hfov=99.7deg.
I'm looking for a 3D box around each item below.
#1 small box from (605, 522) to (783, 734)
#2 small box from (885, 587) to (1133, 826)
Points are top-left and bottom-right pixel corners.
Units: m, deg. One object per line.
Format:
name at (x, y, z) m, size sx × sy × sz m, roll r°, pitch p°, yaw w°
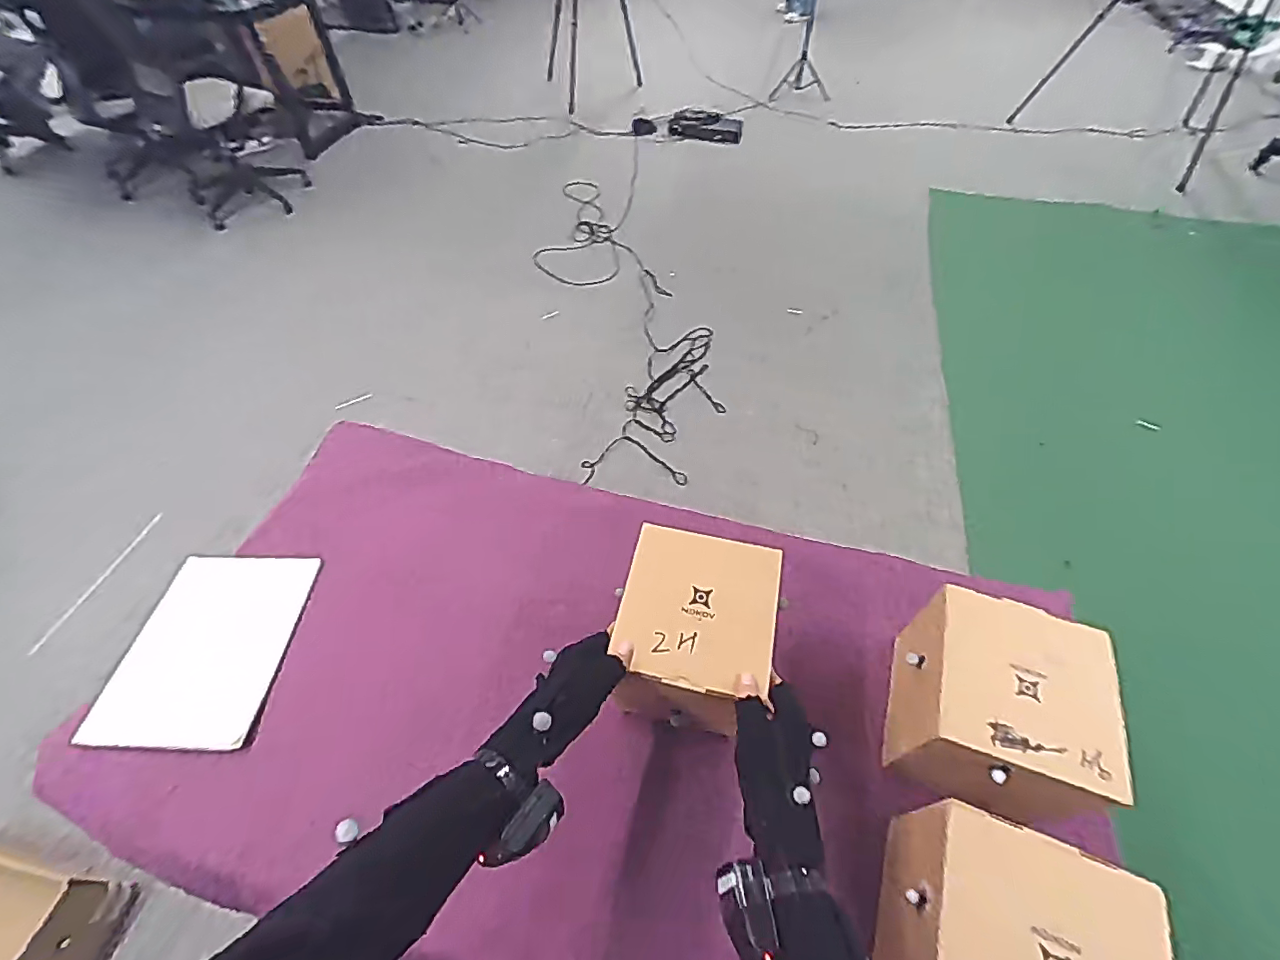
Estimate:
small box at (0.063, 0.178, 0.639) m, size 0.168 × 0.176 × 0.179 m, roll 11°, pitch 57°, yaw 8°
small box at (0.393, 0.256, 0.608) m, size 0.168 × 0.176 × 0.179 m, roll 17°, pitch 54°, yaw 14°
